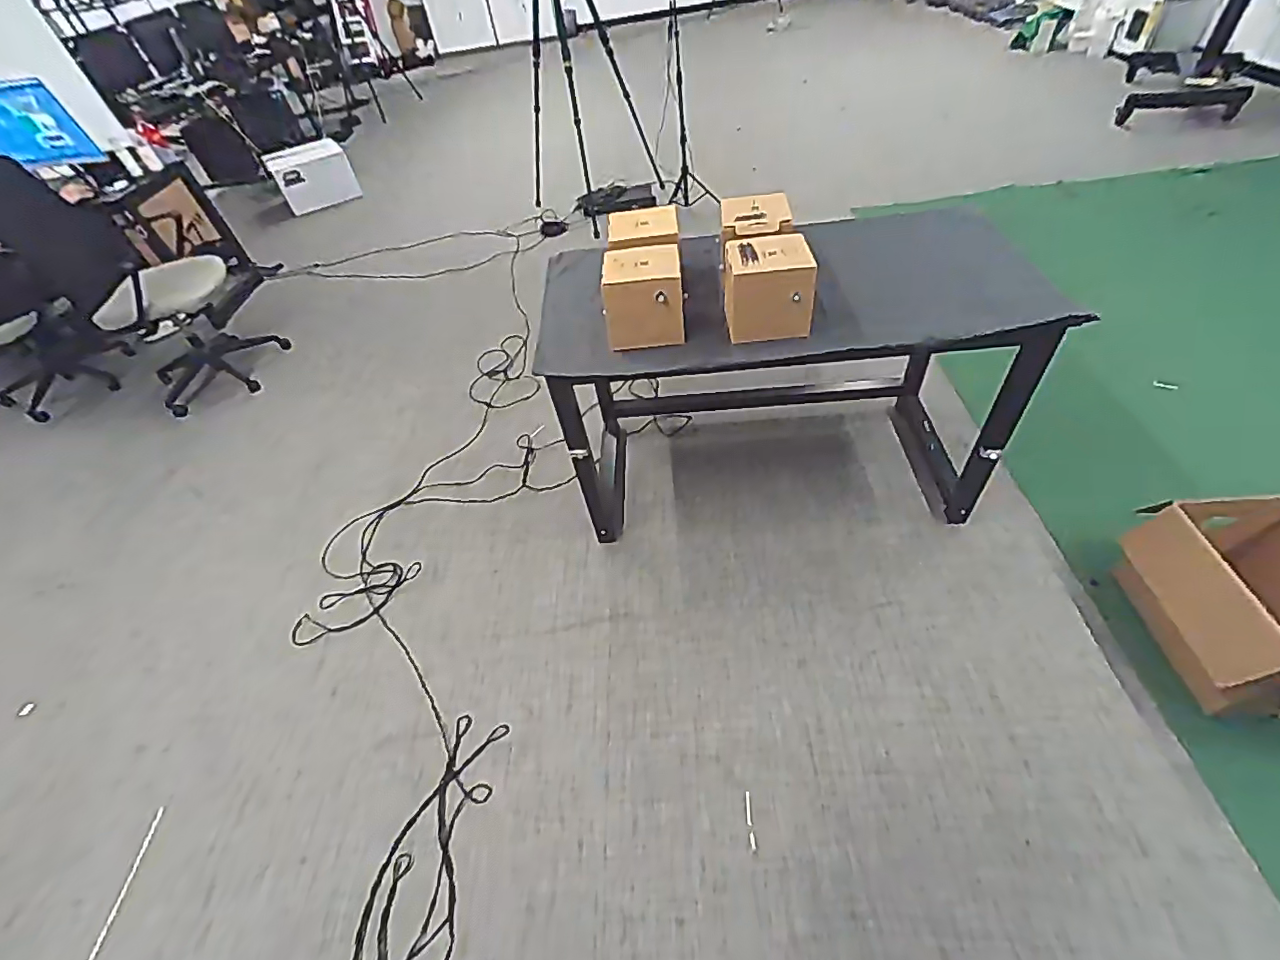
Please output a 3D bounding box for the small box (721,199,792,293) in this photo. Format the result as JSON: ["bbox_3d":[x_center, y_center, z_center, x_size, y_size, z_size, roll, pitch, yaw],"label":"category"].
[{"bbox_3d":[0.295,-0.596,1.391,0.168,0.176,0.179,-1,47,8],"label":"small box"}]

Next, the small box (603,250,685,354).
[{"bbox_3d":[0.015,-0.417,1.273,0.179,0.176,0.168,-5,46,5],"label":"small box"}]

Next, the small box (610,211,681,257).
[{"bbox_3d":[0.021,-0.579,1.426,0.179,0.176,0.168,-6,48,5],"label":"small box"}]
